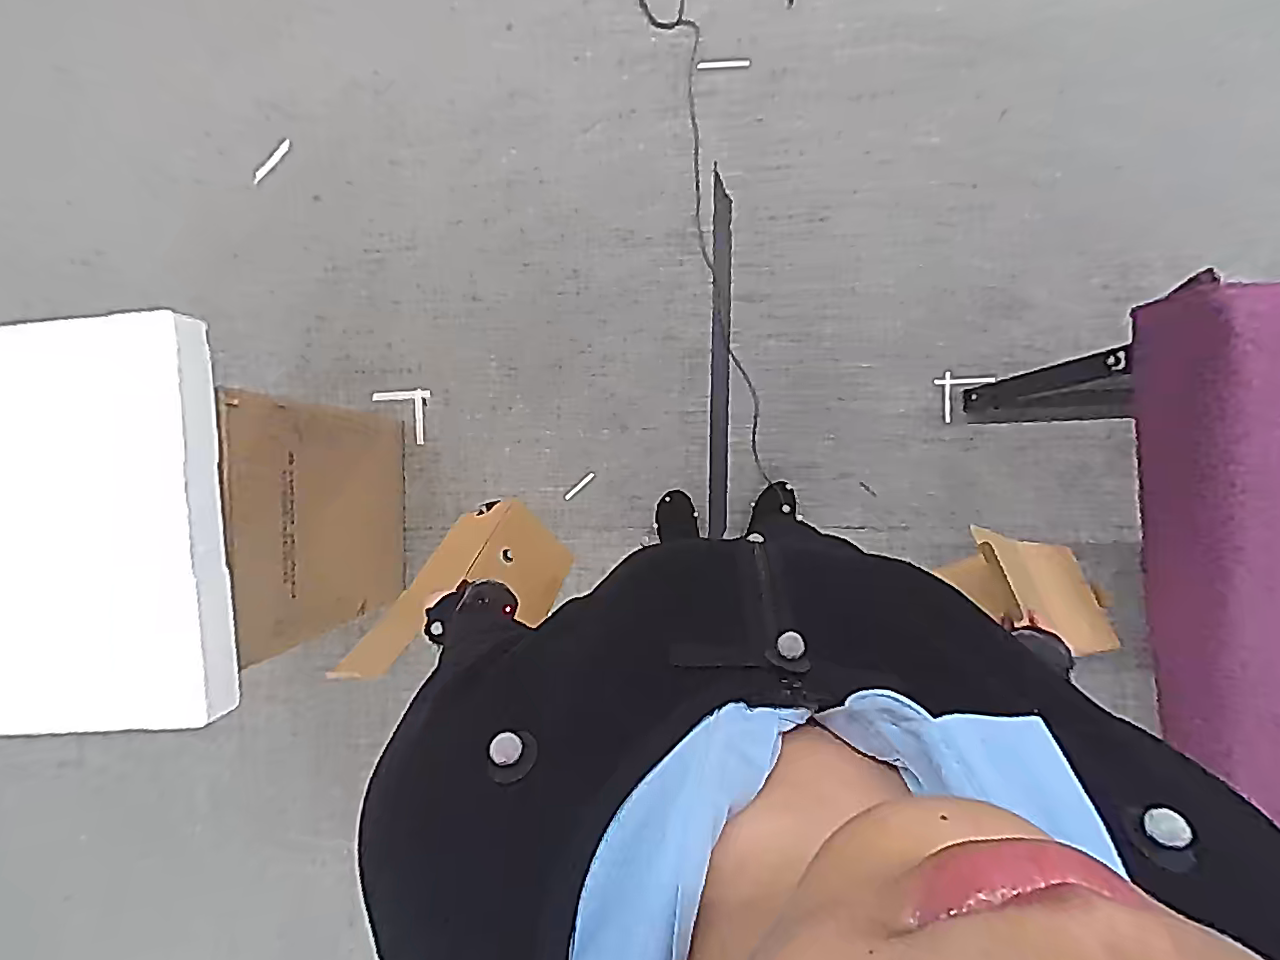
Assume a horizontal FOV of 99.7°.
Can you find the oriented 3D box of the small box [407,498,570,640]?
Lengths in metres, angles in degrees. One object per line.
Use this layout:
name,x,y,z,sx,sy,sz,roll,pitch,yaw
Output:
small box,-0.249,0.161,0.927,0.168,0.179,0.176,-15,125,36
